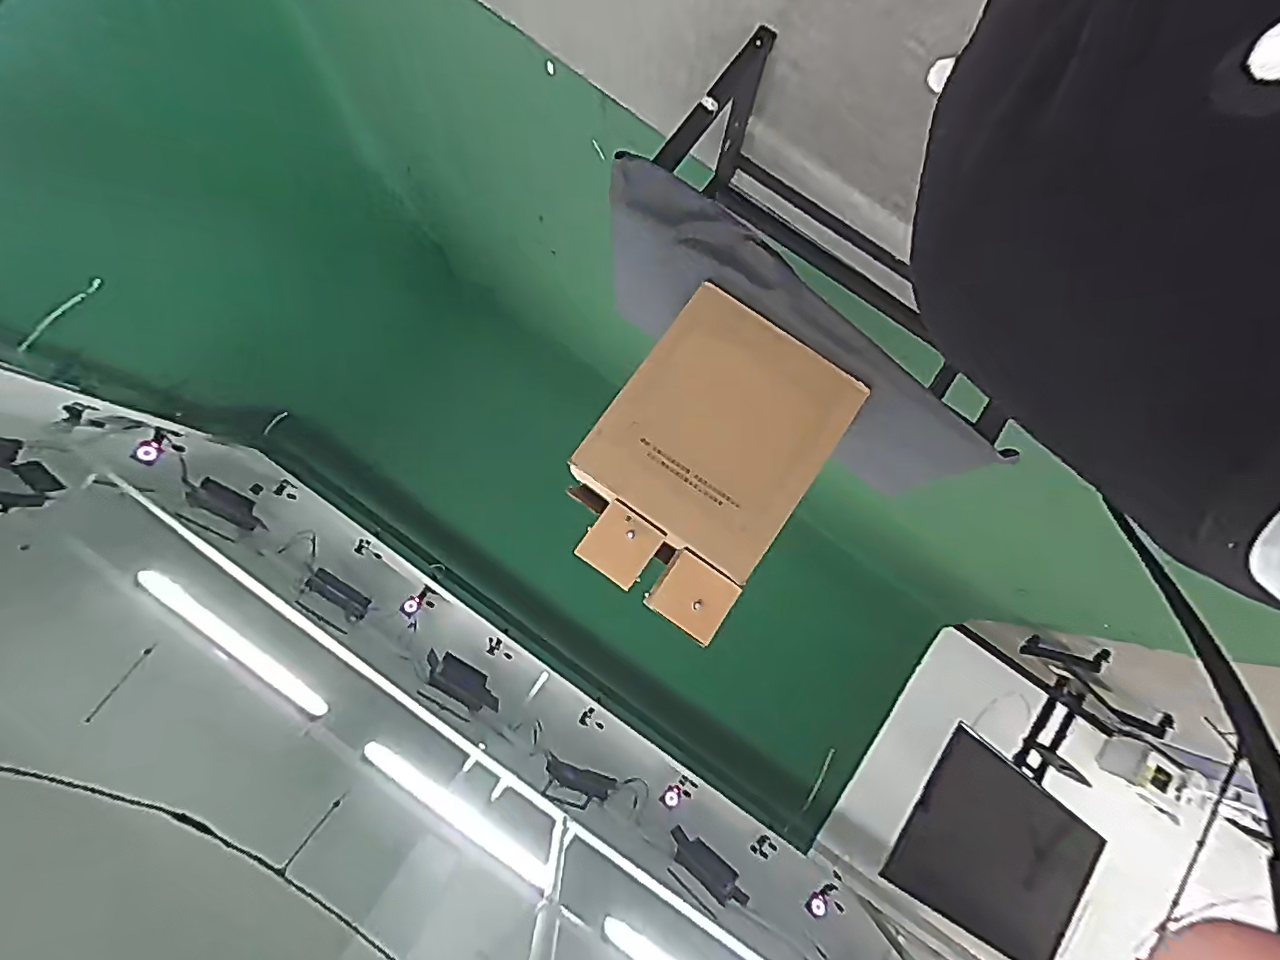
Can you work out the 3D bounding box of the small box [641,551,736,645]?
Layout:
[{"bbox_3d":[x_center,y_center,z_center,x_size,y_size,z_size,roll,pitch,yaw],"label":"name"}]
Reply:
[{"bbox_3d":[0.124,0.299,1.401,0.179,0.176,0.168,34,170,3],"label":"small box"}]

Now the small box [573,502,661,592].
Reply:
[{"bbox_3d":[-0.059,0.177,1.423,0.168,0.176,0.179,35,169,3],"label":"small box"}]
